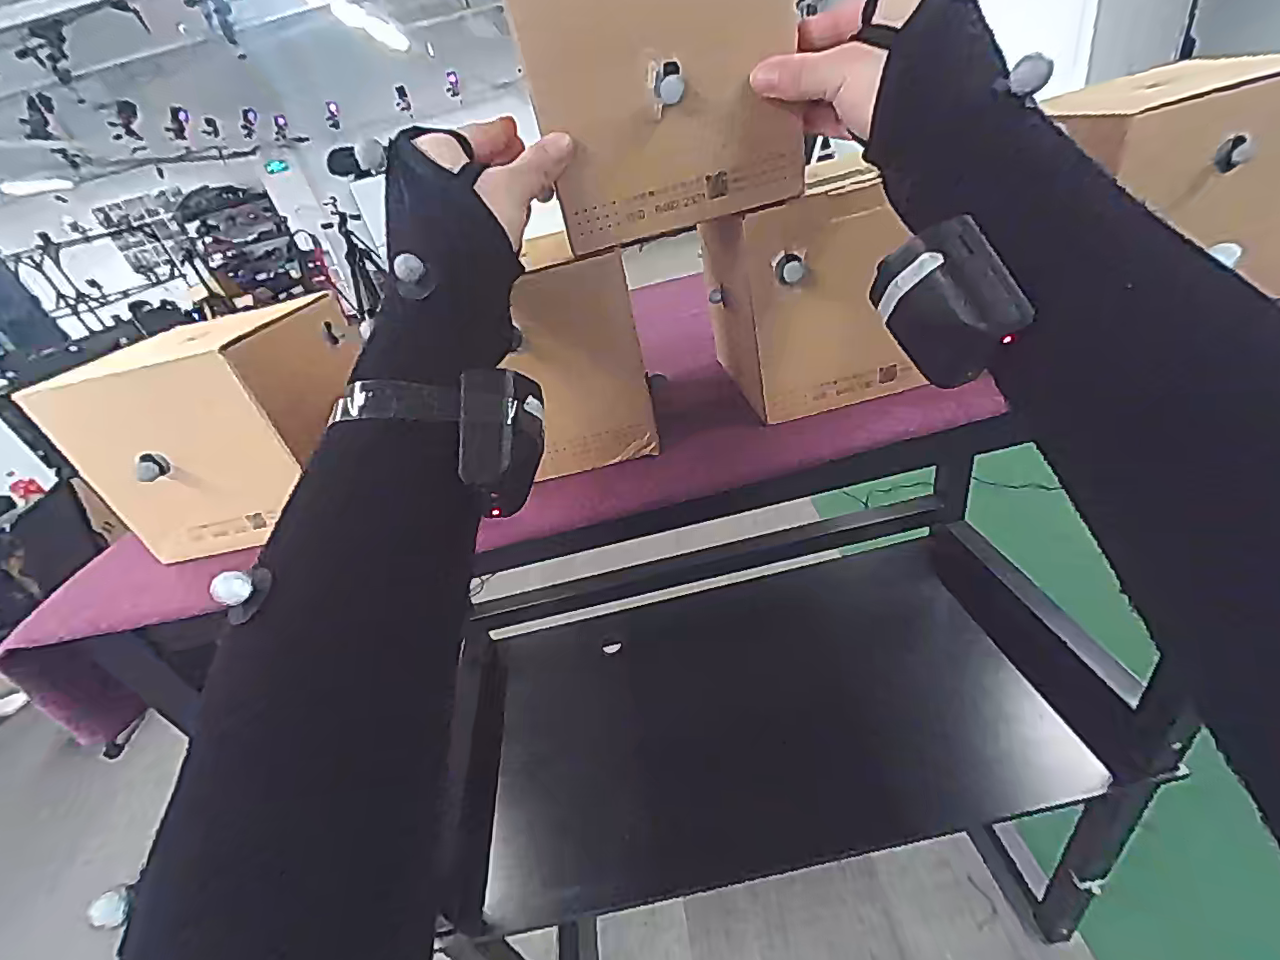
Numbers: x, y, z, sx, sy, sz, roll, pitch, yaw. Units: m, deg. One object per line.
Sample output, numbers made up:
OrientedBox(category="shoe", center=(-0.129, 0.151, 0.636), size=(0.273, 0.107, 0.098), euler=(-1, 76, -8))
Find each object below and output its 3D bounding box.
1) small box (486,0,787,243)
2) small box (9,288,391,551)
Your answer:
OrientedBox(category="small box", center=(-0.004, -0.284, 0.389), size=(0.168, 0.176, 0.179), euler=(-16, 33, 0))
OrientedBox(category="small box", center=(-0.359, -0.052, 0.492), size=(0.168, 0.176, 0.179), euler=(-12, 32, 5))
